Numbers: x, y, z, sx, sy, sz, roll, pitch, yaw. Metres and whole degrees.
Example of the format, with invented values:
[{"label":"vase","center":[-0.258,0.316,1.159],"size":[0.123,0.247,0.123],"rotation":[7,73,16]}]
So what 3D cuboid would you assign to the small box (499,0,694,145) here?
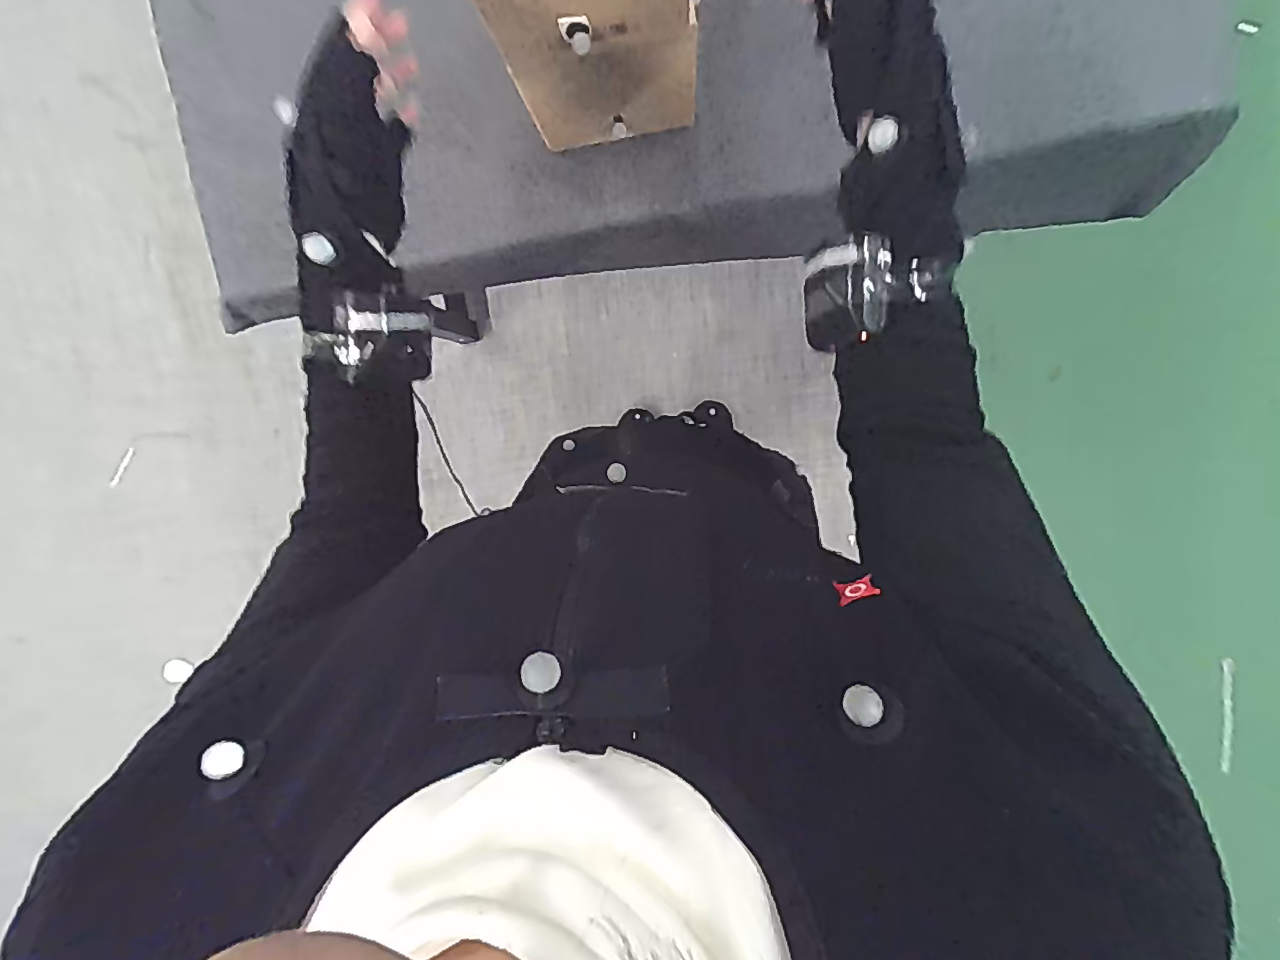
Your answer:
[{"label":"small box","center":[-0.043,-0.476,0.550],"size":[0.179,0.176,0.168],"rotation":[-7,97,6]}]

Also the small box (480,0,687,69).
[{"label":"small box","center":[-0.059,-0.453,0.391],"size":[0.168,0.176,0.179],"rotation":[-8,98,9]}]
